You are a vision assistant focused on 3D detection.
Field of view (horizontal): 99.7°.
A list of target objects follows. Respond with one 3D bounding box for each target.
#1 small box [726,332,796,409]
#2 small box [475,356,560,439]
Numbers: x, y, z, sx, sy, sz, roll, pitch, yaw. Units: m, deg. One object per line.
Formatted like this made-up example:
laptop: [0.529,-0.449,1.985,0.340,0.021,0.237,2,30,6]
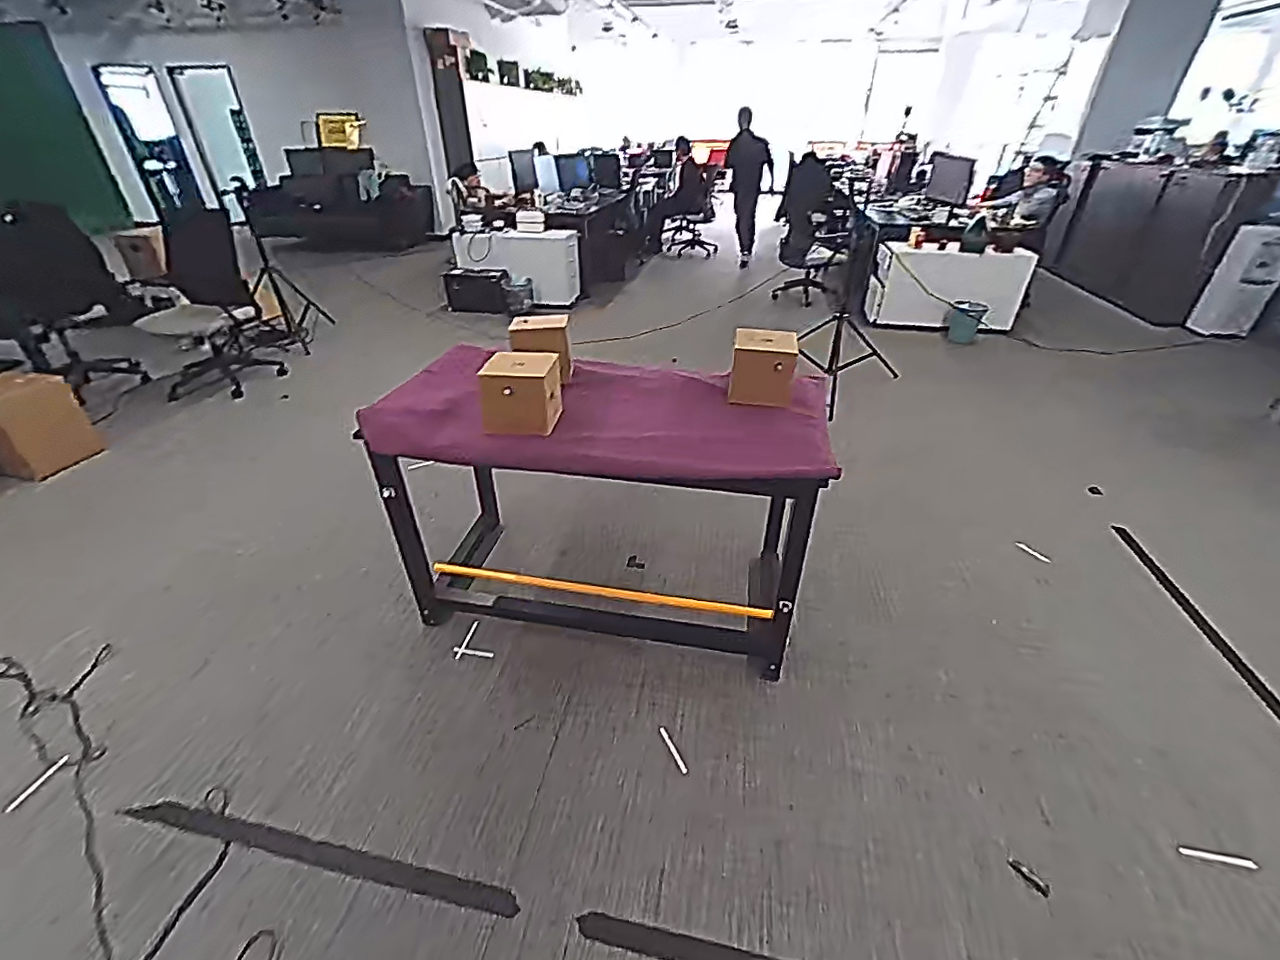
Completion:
small box: [0.350,-0.320,1.581,0.179,0.176,0.168,6,34,9]
small box: [-0.316,-0.219,1.438,0.179,0.176,0.168,2,33,4]
